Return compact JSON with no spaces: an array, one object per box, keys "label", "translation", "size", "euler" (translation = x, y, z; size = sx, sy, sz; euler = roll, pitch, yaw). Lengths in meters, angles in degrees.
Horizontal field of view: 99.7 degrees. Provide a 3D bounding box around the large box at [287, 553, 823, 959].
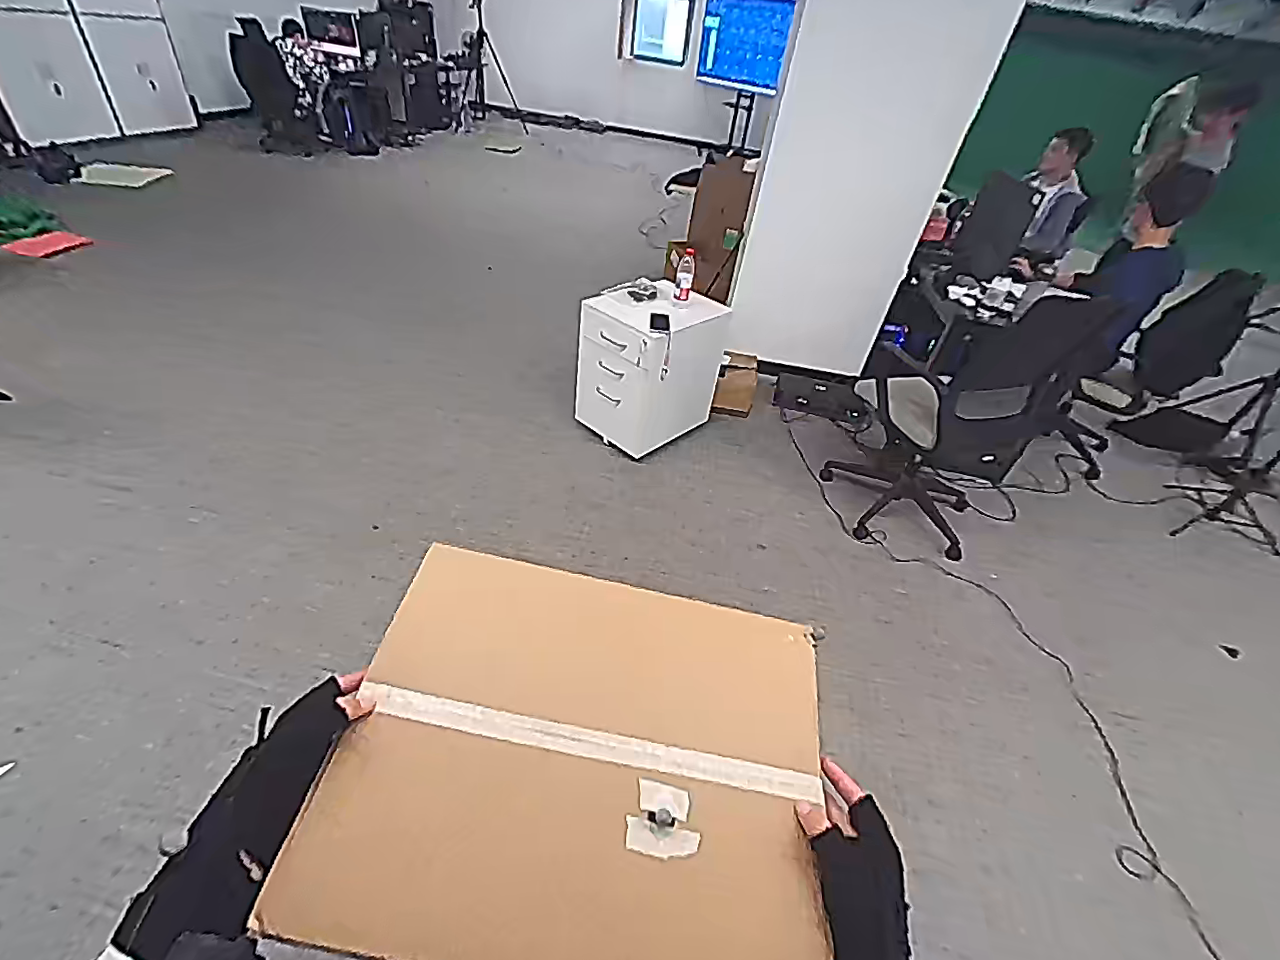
[{"label":"large box","translation":[-0.064,0.323,0.596],"size":[0.408,0.320,0.320],"euler":[13,51,-2]}]
